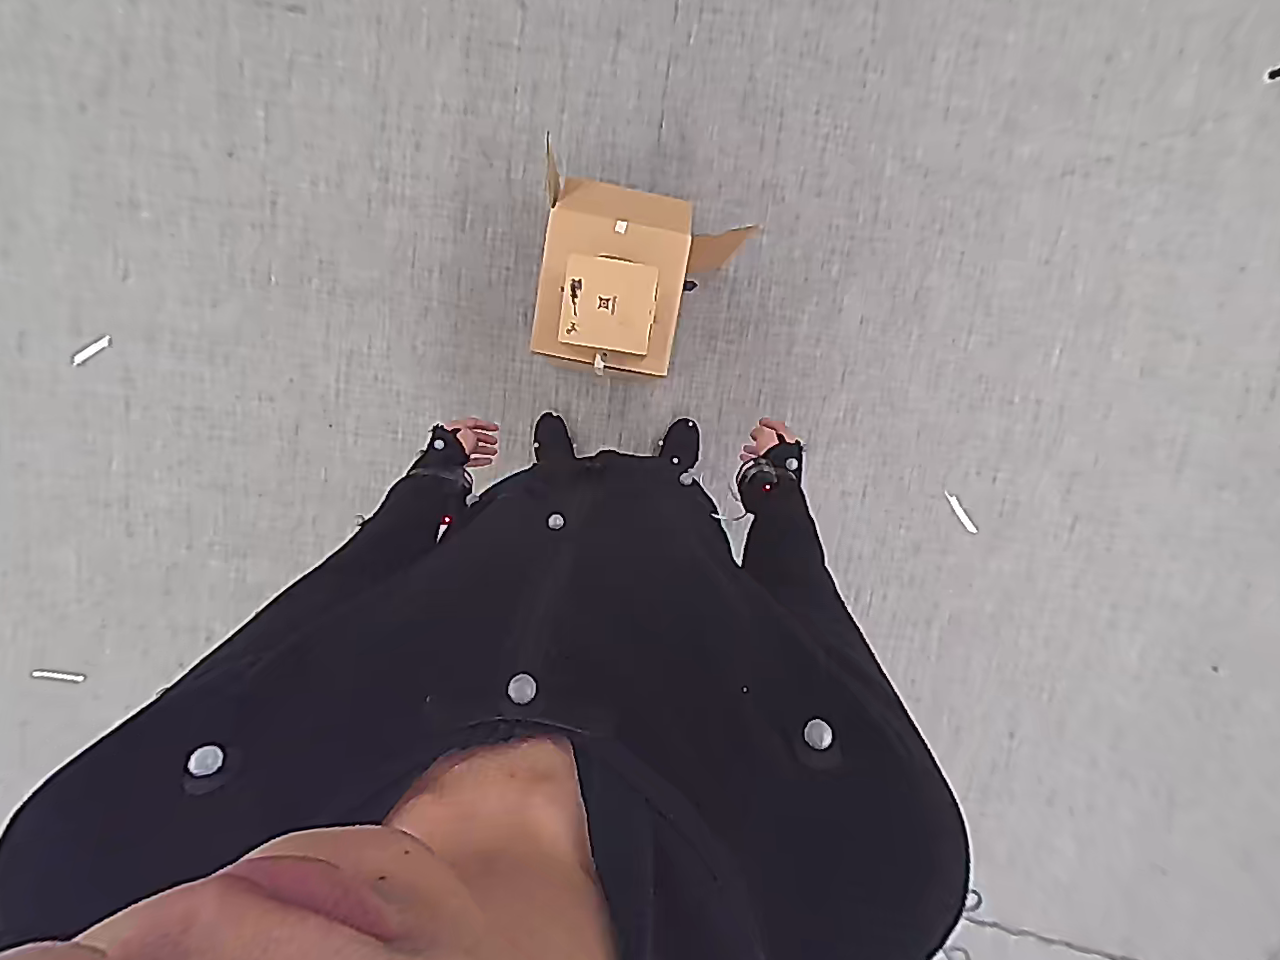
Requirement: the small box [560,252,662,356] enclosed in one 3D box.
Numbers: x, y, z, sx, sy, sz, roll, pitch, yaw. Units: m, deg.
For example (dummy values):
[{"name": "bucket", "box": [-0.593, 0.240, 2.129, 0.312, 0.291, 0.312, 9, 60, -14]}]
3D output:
[{"name": "small box", "box": [-0.059, -0.351, 1.111, 0.179, 0.176, 0.168, 9, 100, -4]}]
